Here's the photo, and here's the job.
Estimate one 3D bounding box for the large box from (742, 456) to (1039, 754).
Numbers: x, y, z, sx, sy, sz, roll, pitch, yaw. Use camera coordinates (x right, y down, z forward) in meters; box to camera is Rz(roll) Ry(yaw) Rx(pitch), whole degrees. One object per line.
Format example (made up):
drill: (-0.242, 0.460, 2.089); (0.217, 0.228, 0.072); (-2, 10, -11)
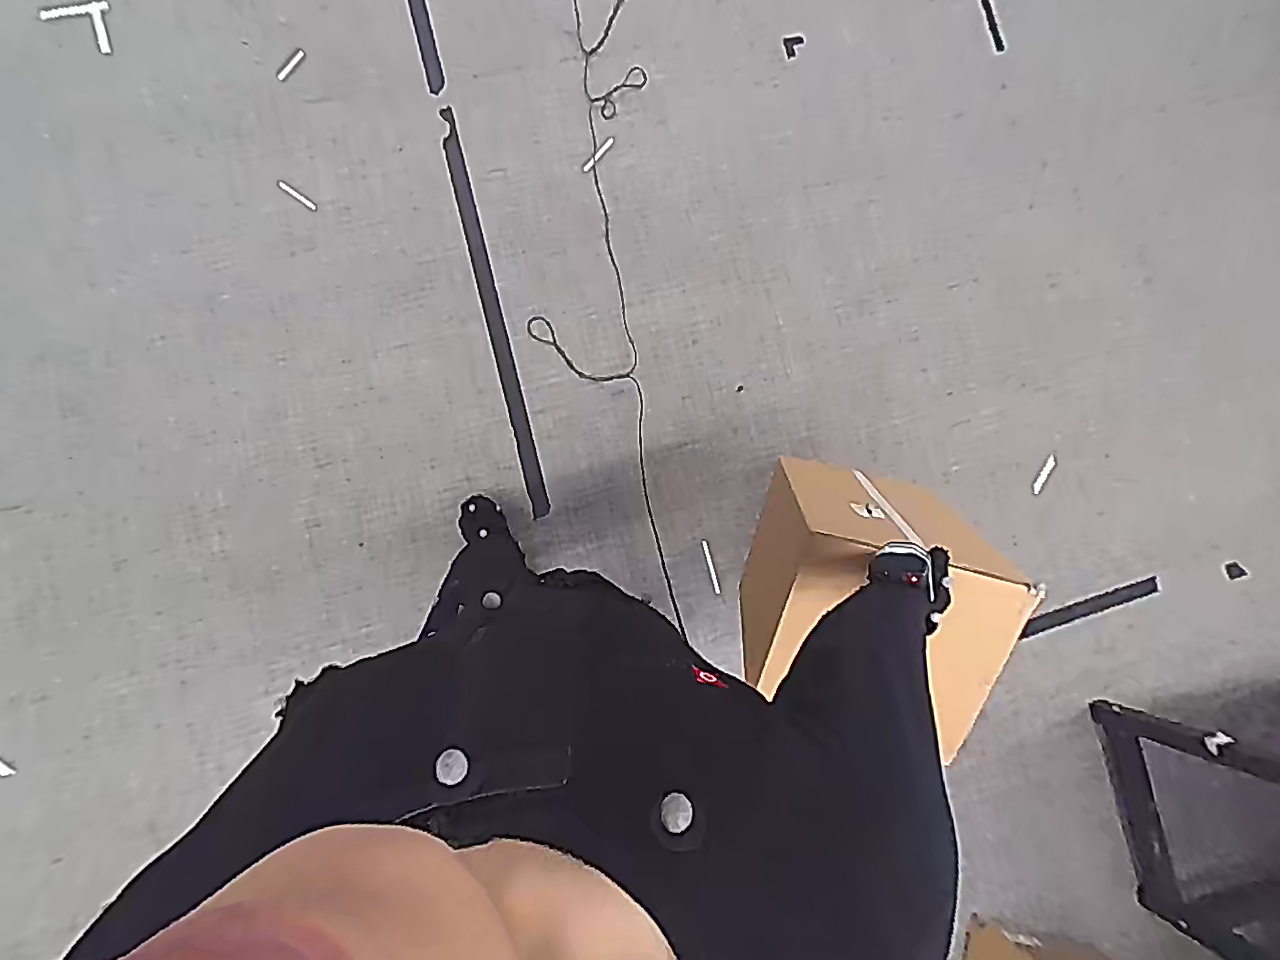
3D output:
large box: (0.382, 0.188, 0.968); (0.320, 0.408, 0.320); (14, 110, 3)
